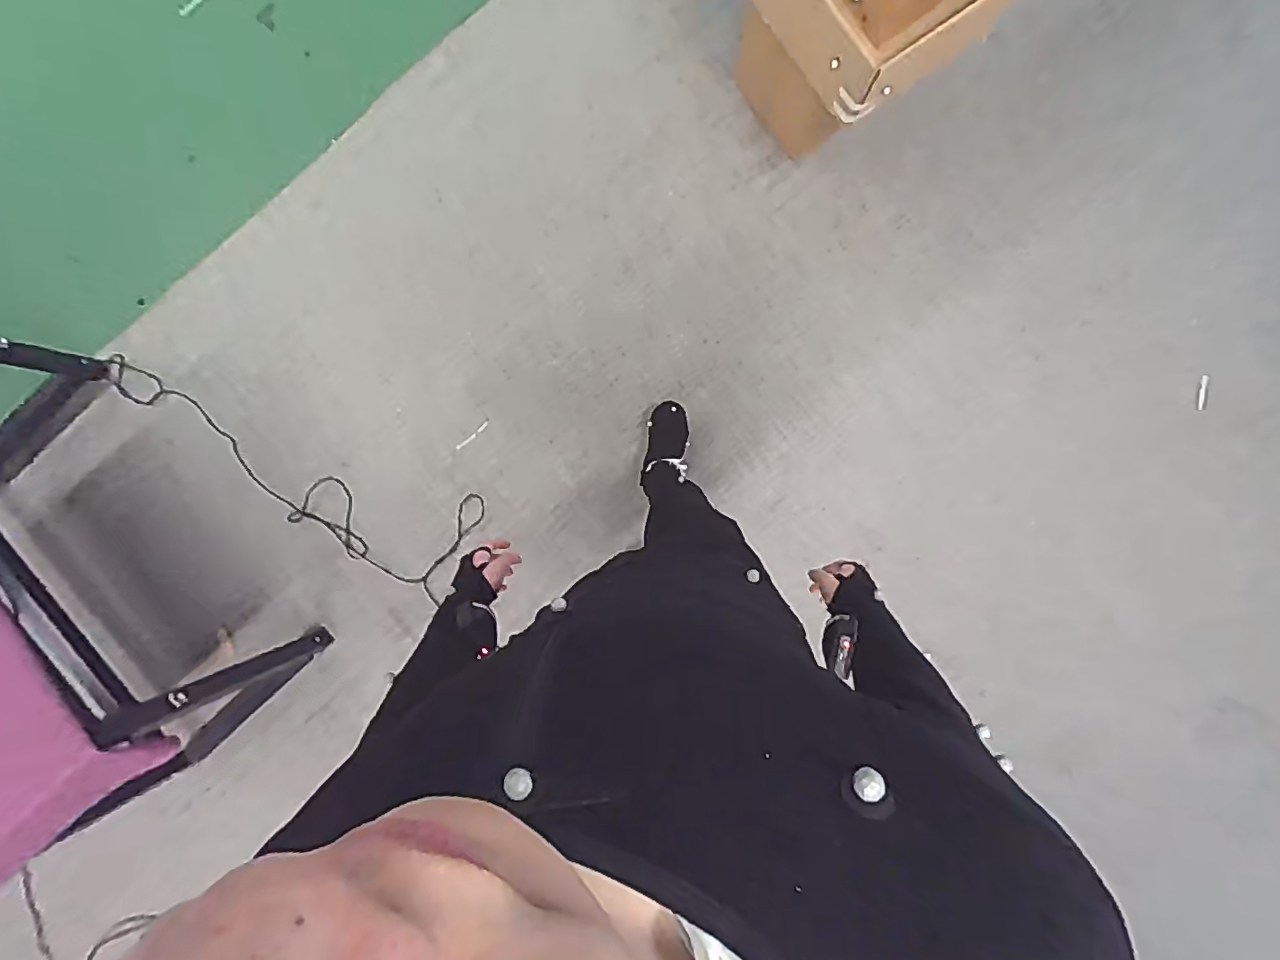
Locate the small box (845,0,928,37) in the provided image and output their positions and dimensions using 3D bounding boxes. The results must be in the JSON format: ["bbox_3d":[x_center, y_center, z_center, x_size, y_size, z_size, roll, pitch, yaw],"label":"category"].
[{"bbox_3d":[0.536,-1.083,1.110,0.179,0.176,0.168,-34,89,3],"label":"small box"}]
